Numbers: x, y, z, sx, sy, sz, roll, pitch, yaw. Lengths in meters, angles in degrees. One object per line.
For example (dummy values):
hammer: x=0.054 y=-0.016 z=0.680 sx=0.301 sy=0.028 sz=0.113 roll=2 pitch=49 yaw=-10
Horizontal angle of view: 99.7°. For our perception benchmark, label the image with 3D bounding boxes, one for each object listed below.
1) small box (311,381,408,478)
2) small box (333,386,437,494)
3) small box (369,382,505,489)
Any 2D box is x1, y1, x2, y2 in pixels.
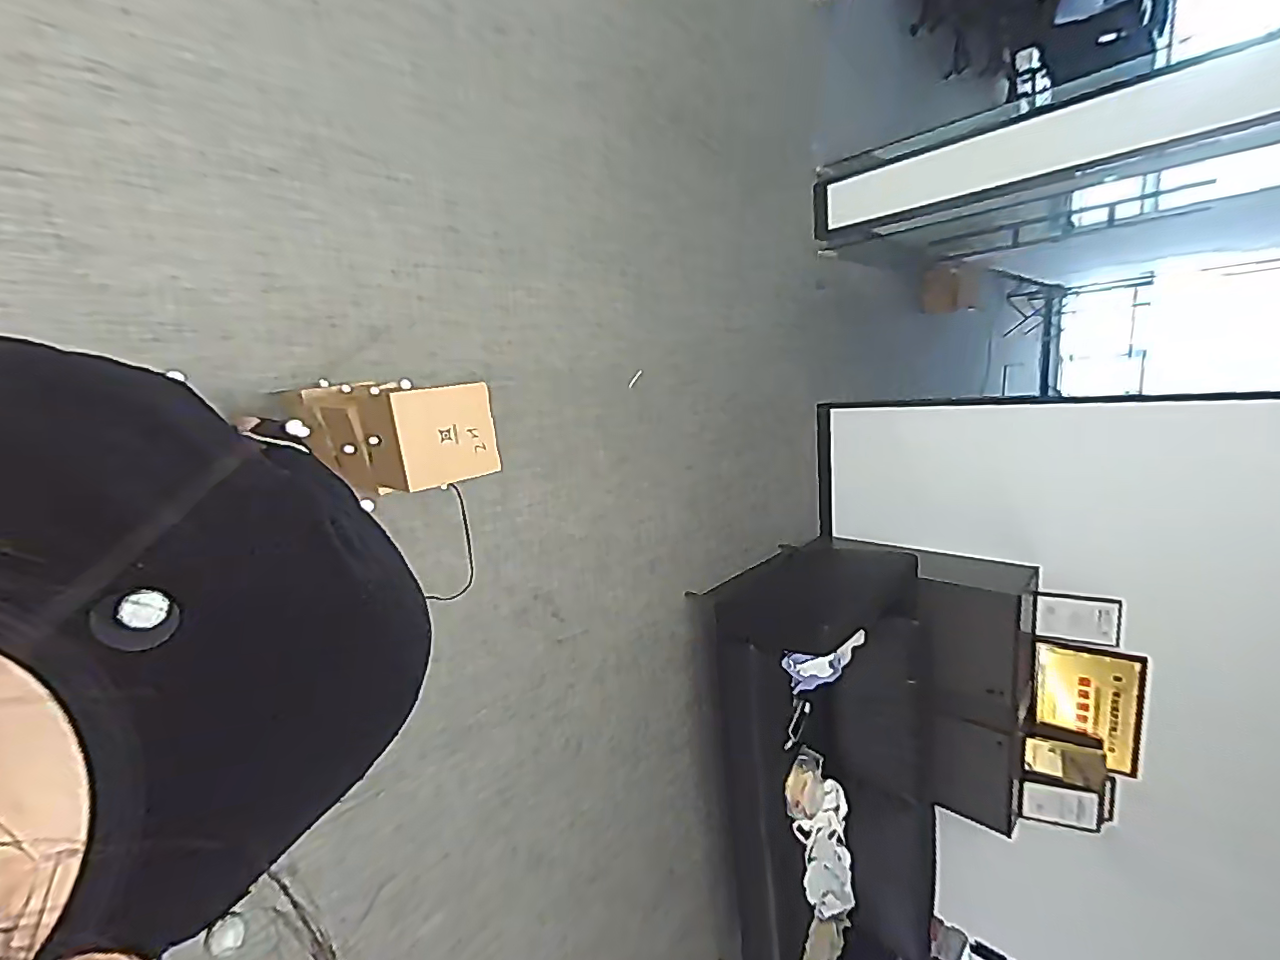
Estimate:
small box: x=-0.610 y=-0.114 z=1.214 sx=0.179 sy=0.176 sz=0.168 roll=-32 pitch=116 yaw=-38
small box: x=-0.494 y=-0.087 z=1.102 sx=0.168 sy=0.176 sz=0.179 roll=-28 pitch=113 yaw=-39
small box: x=-0.375 y=-0.085 z=0.988 sx=0.179 sy=0.176 sz=0.168 roll=-17 pitch=106 yaw=-42
